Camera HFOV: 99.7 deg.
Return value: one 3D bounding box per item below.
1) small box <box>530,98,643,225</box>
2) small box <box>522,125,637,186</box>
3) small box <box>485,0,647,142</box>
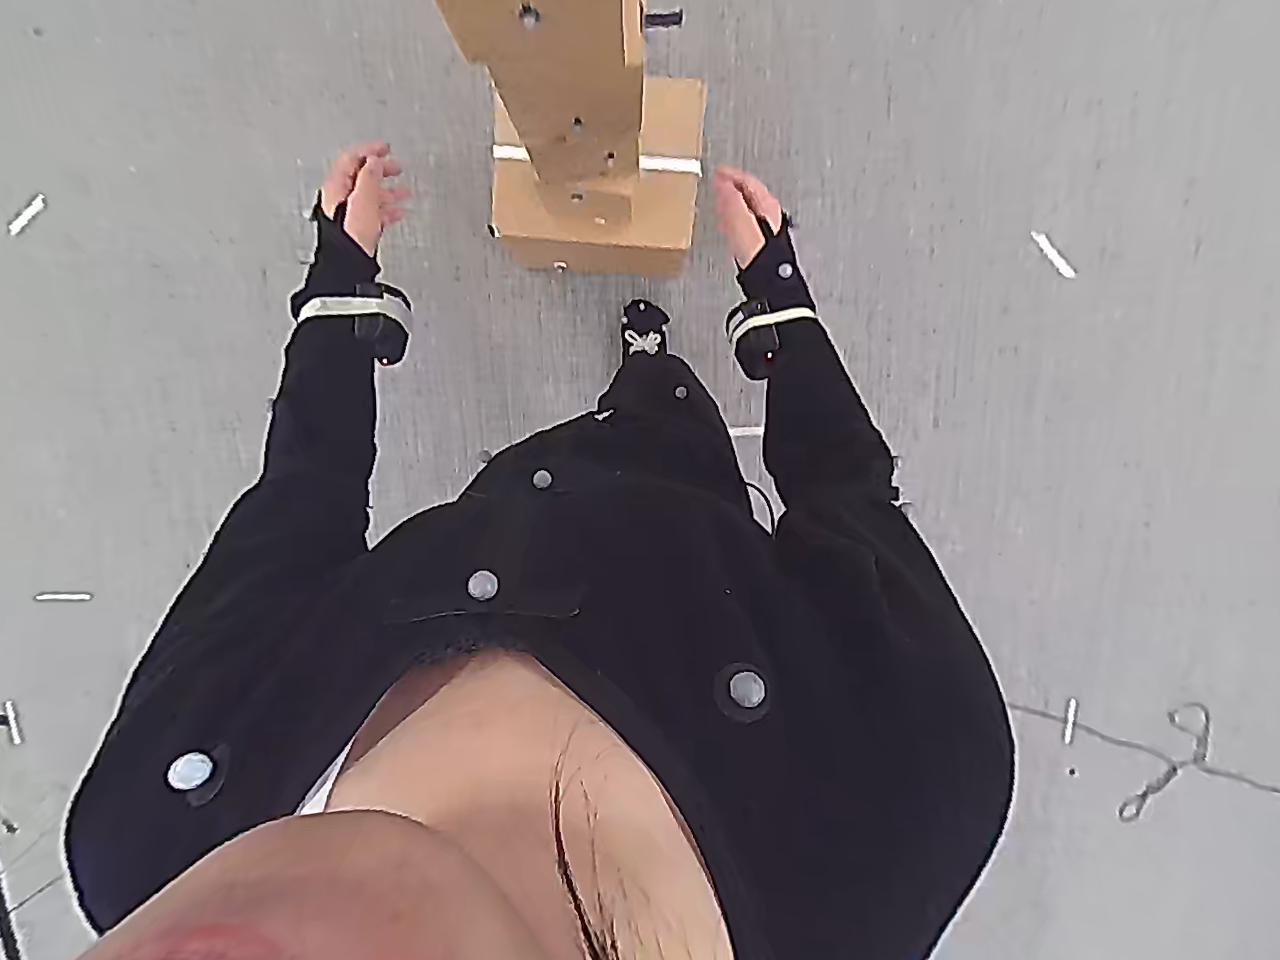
[{"bbox_3d":[-0.092,-0.584,0.990,0.179,0.176,0.168,7,100,-3],"label":"small box"},{"bbox_3d":[-0.095,-0.572,0.828,0.168,0.176,0.179,-8,99,0],"label":"small box"},{"bbox_3d":[-0.086,-0.542,0.667,0.179,0.176,0.168,-2,100,-1],"label":"small box"}]
